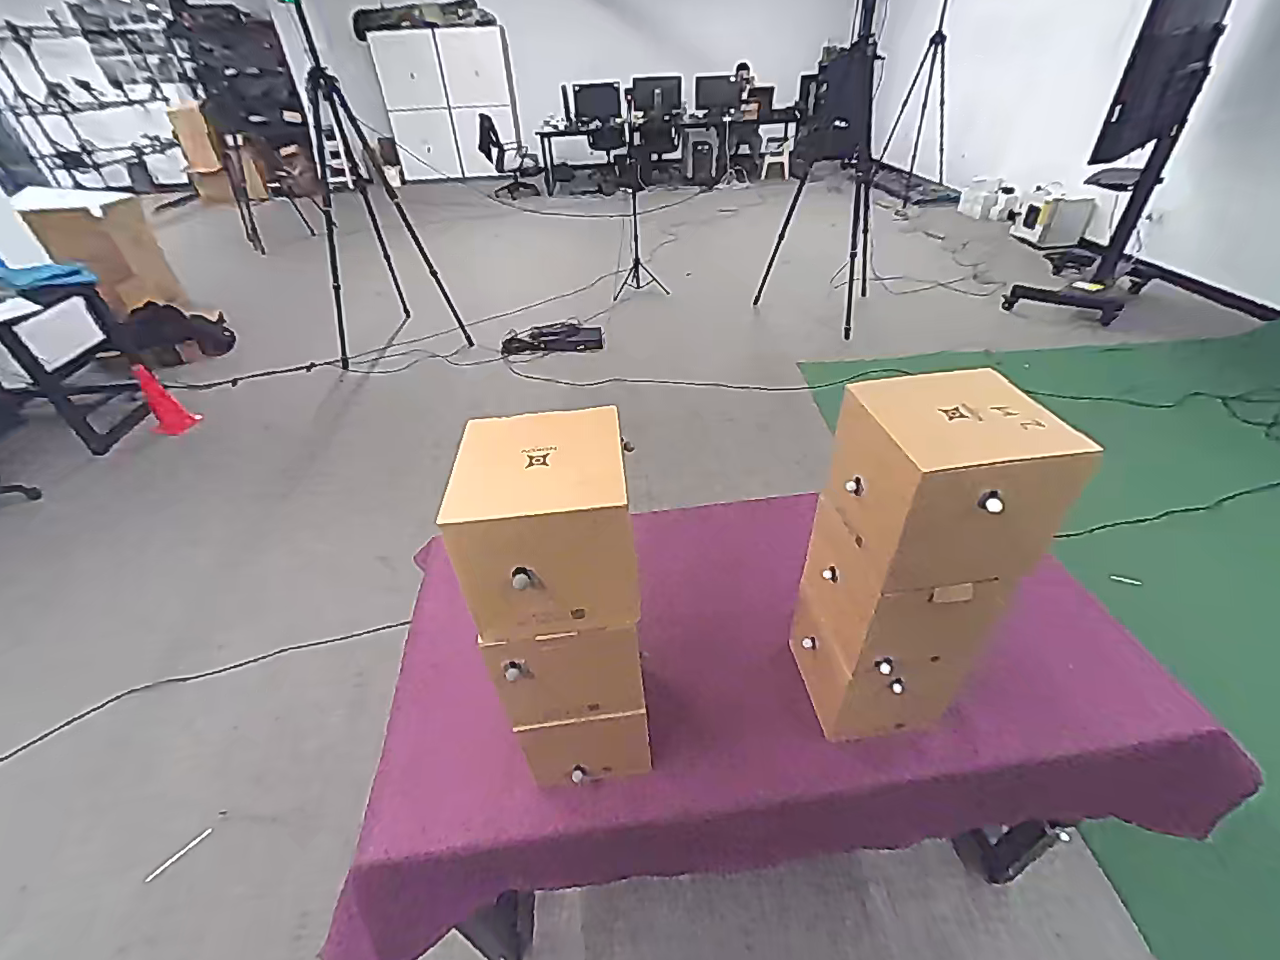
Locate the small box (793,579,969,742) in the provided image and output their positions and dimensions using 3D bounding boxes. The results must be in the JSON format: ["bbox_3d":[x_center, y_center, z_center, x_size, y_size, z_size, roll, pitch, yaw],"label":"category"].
[{"bbox_3d":[0.339,0.257,0.805,0.168,0.176,0.179,-7,38,-3],"label":"small box"}]

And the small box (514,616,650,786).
[{"bbox_3d":[-0.077,0.307,0.778,0.168,0.176,0.179,-6,39,-2],"label":"small box"}]

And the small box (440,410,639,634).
[{"bbox_3d":[-0.094,0.047,0.578,0.168,0.176,0.179,-6,37,-2],"label":"small box"}]

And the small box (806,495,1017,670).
[{"bbox_3d":[0.332,0.128,0.704,0.168,0.176,0.179,-7,38,-4],"label":"small box"}]

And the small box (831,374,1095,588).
[{"bbox_3d":[0.326,0.002,0.597,0.179,0.176,0.168,-6,40,-3],"label":"small box"}]
